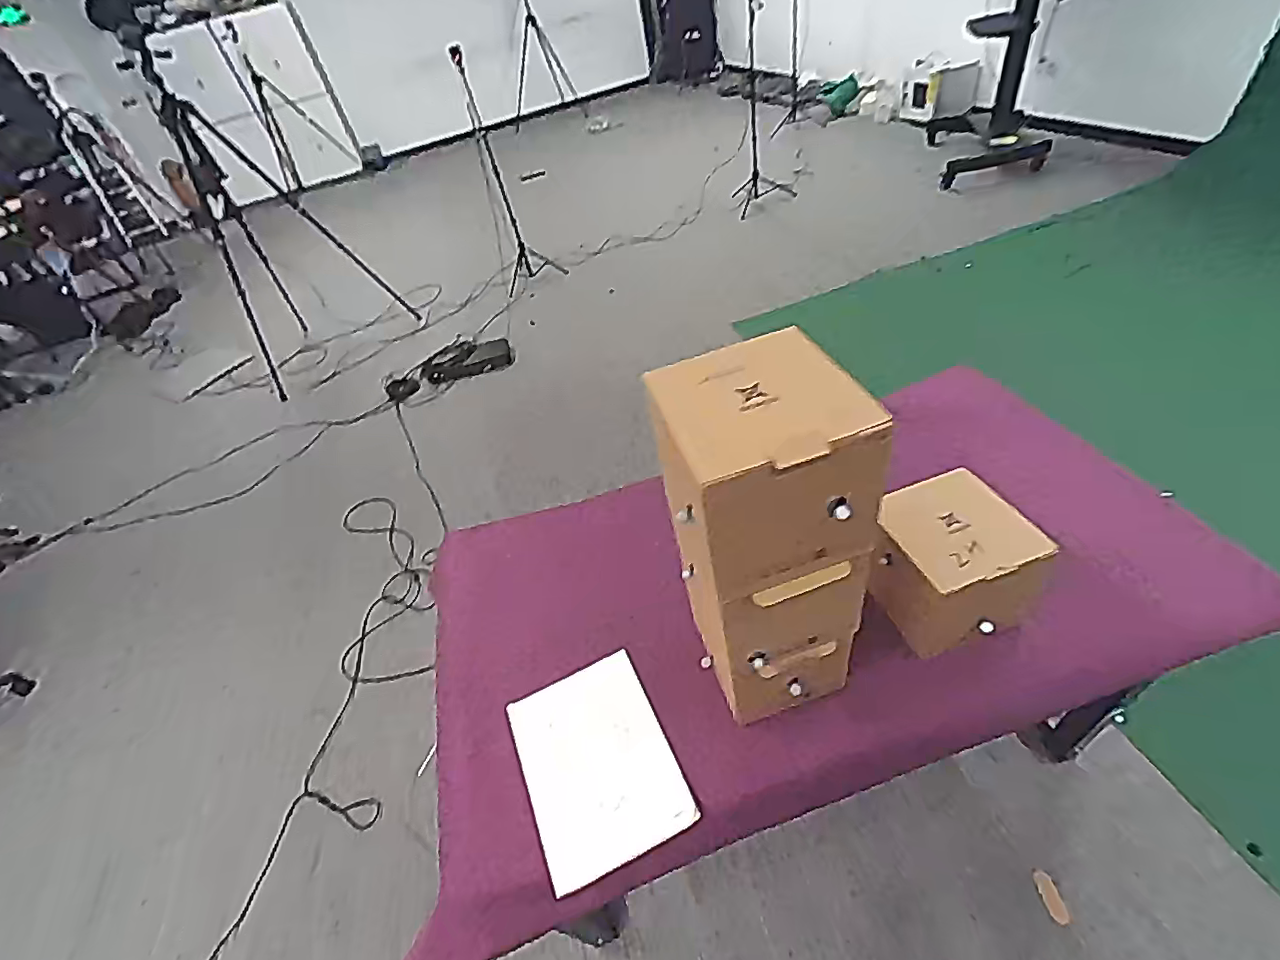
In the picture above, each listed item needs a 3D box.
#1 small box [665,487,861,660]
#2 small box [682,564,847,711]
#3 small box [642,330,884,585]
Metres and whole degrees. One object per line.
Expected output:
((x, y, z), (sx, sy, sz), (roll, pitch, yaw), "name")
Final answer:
((0.144, 0.094, 0.655), (0.168, 0.176, 0.179), (-19, 43, -4), "small box")
((0.173, 0.206, 0.773), (0.168, 0.176, 0.179), (-19, 44, -4), "small box")
((0.114, -0.017, 0.540), (0.168, 0.176, 0.179), (-18, 43, -4), "small box")
